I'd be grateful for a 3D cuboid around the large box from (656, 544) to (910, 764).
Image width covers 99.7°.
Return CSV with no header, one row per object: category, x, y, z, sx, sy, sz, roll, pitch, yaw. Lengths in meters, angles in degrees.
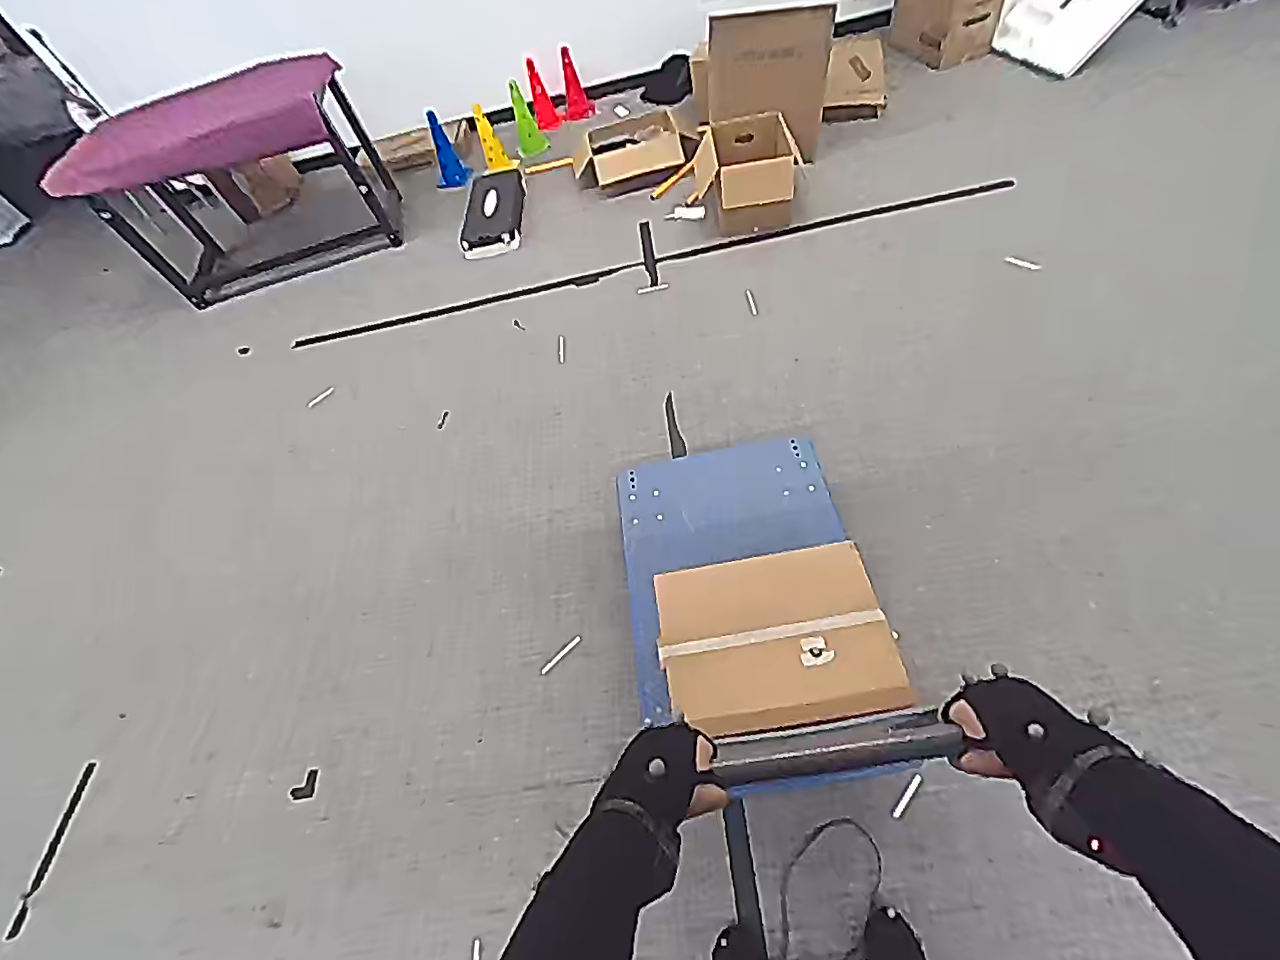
large box,0.267,0.373,1.125,0.408,0.320,0.320,-11,56,3
